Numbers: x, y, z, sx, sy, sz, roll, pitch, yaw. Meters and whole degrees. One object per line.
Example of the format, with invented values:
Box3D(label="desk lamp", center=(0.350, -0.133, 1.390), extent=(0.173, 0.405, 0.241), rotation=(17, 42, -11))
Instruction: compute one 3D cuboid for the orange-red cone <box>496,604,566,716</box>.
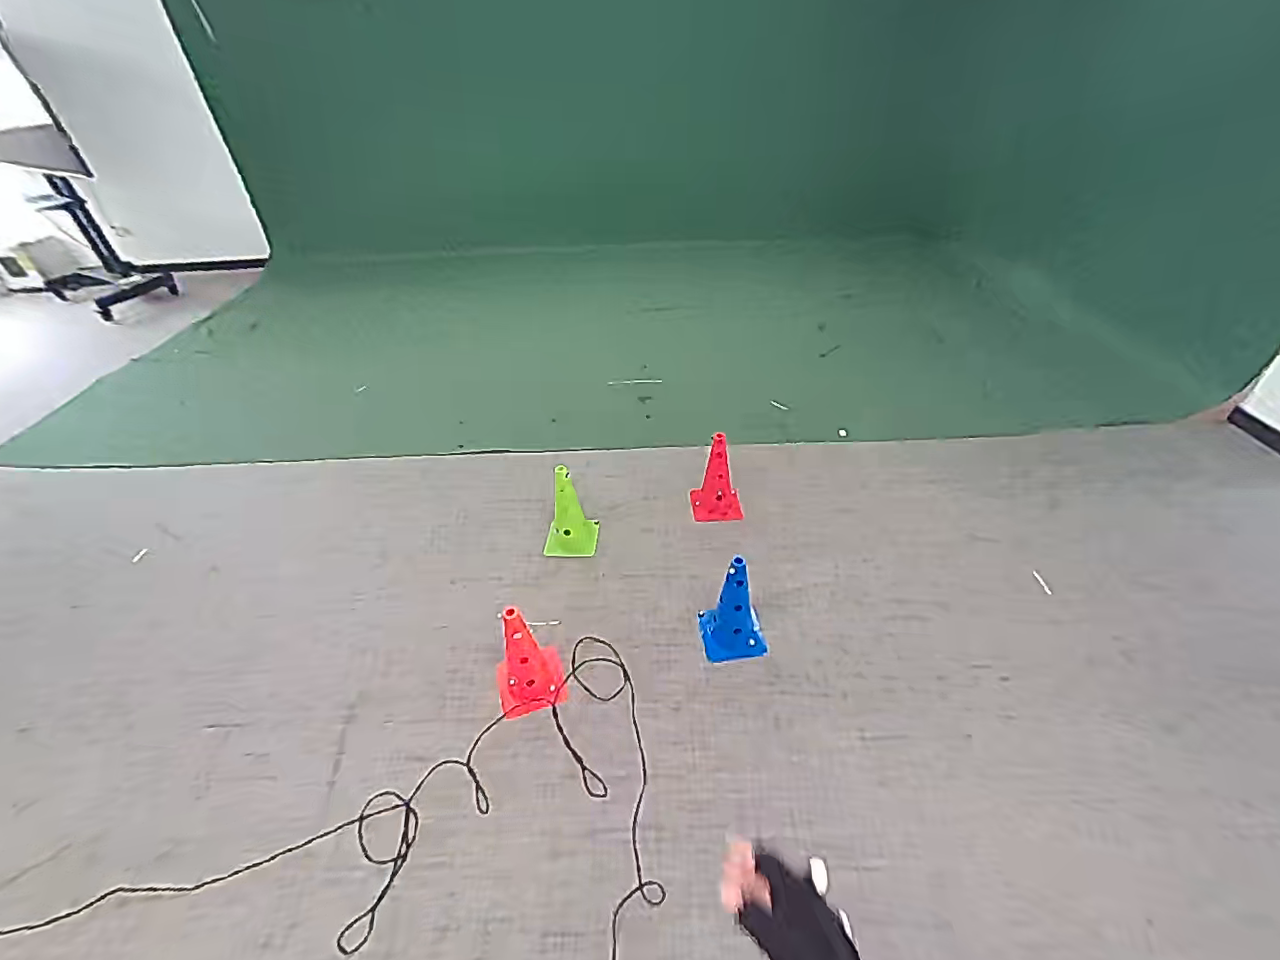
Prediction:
Box3D(label="orange-red cone", center=(-0.345, 0.488, 1.571), extent=(0.198, 0.360, 0.199), rotation=(-13, 39, -14))

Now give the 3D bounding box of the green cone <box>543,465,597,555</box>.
Box3D(label="green cone", center=(-0.285, 0.091, 2.046), extent=(0.200, 0.368, 0.202), rotation=(-1, 40, 3))
